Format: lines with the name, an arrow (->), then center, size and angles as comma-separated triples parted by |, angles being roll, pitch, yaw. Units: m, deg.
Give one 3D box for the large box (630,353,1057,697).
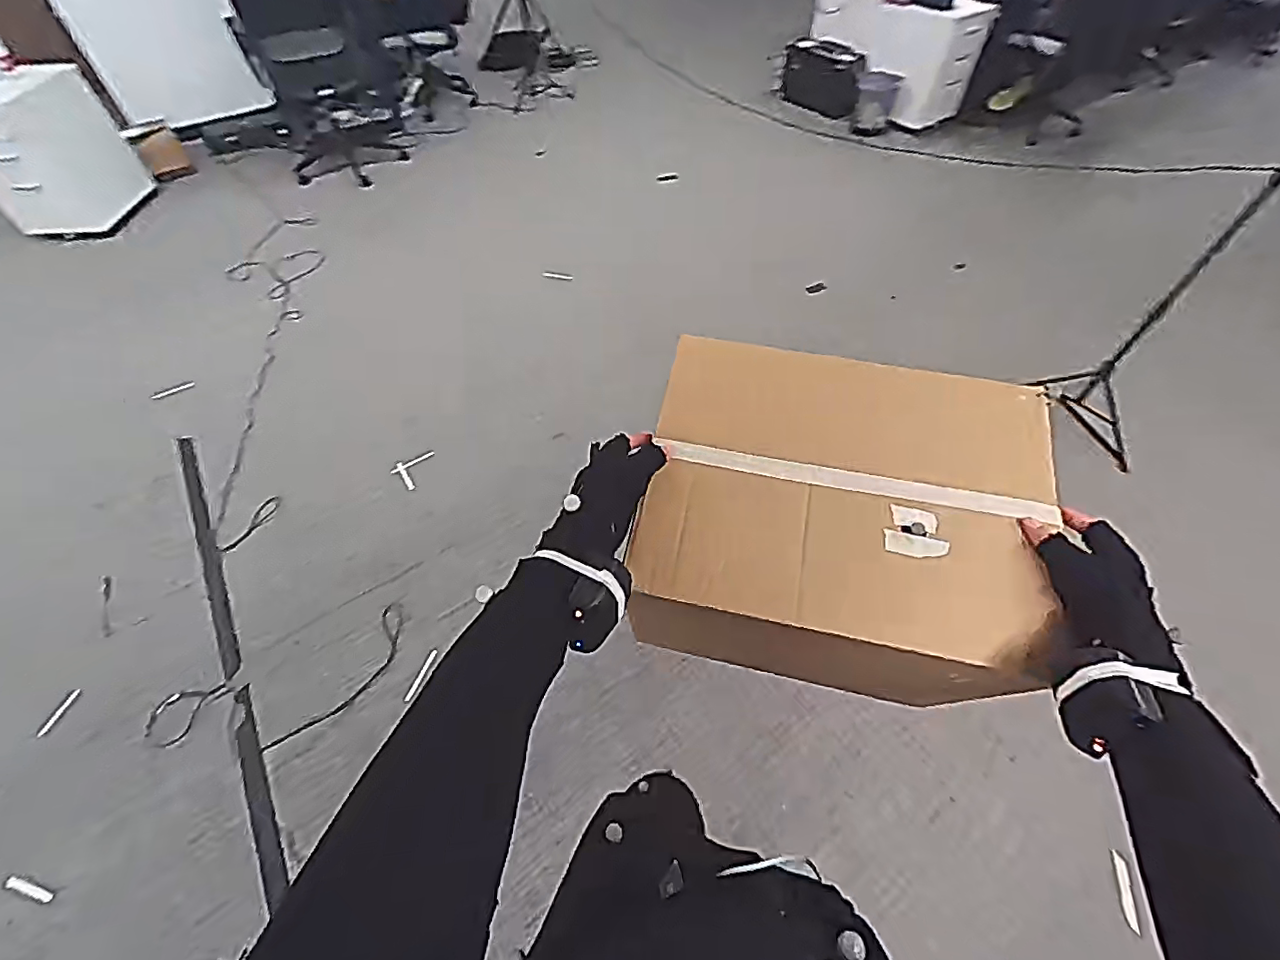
large box -> 0.216, 0.074, 0.704 | 0.408, 0.320, 0.320 | 10, 67, 7
